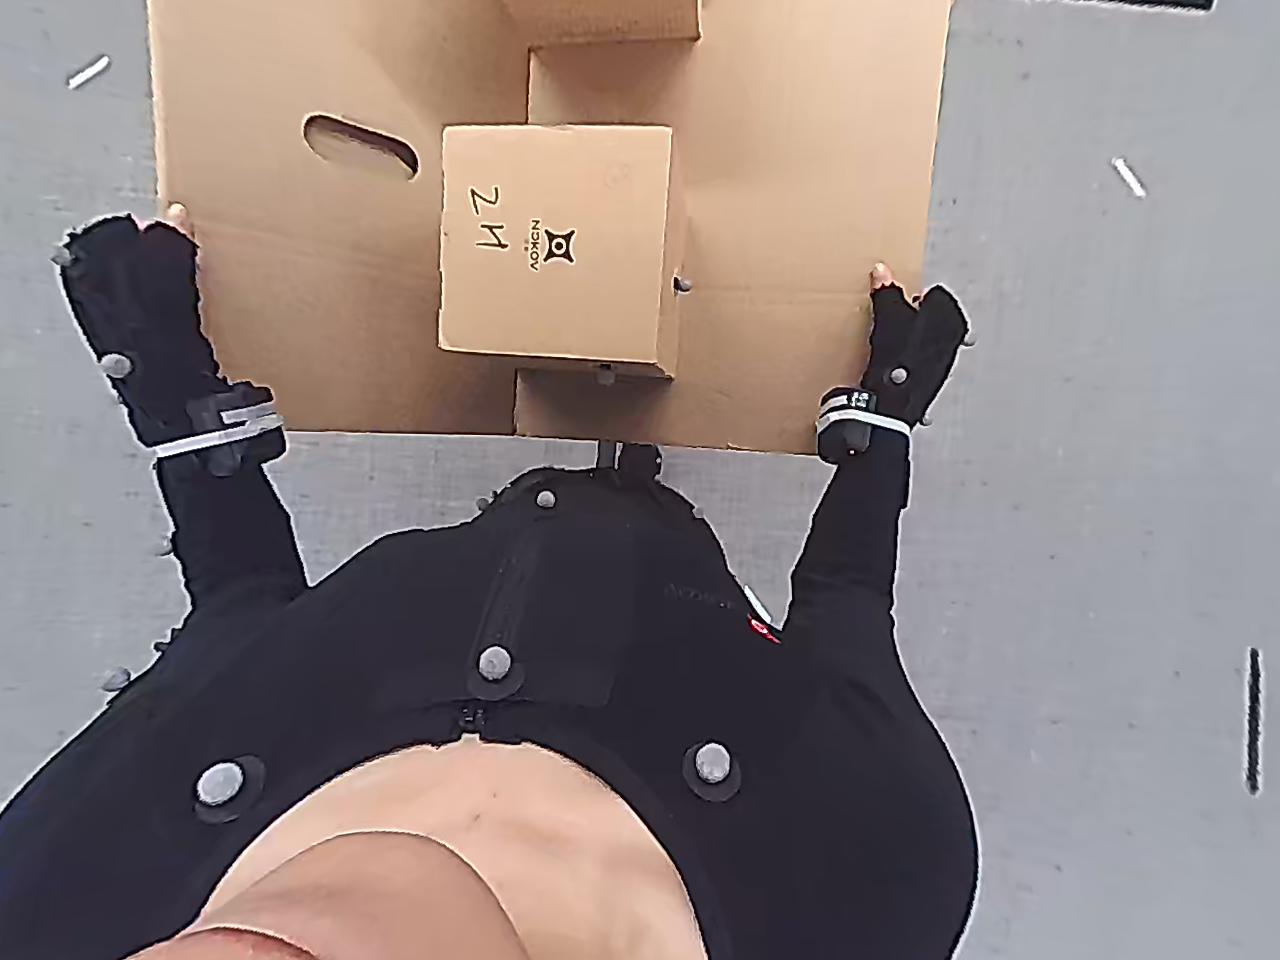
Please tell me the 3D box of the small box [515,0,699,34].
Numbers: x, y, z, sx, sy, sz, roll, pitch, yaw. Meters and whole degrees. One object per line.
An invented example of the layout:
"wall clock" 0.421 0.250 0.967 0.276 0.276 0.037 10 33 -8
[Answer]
"small box" -0.038 -0.515 0.449 0.179 0.176 0.168 3 97 8

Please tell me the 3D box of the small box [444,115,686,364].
"small box" -0.054 -0.199 0.490 0.179 0.176 0.168 6 98 8
